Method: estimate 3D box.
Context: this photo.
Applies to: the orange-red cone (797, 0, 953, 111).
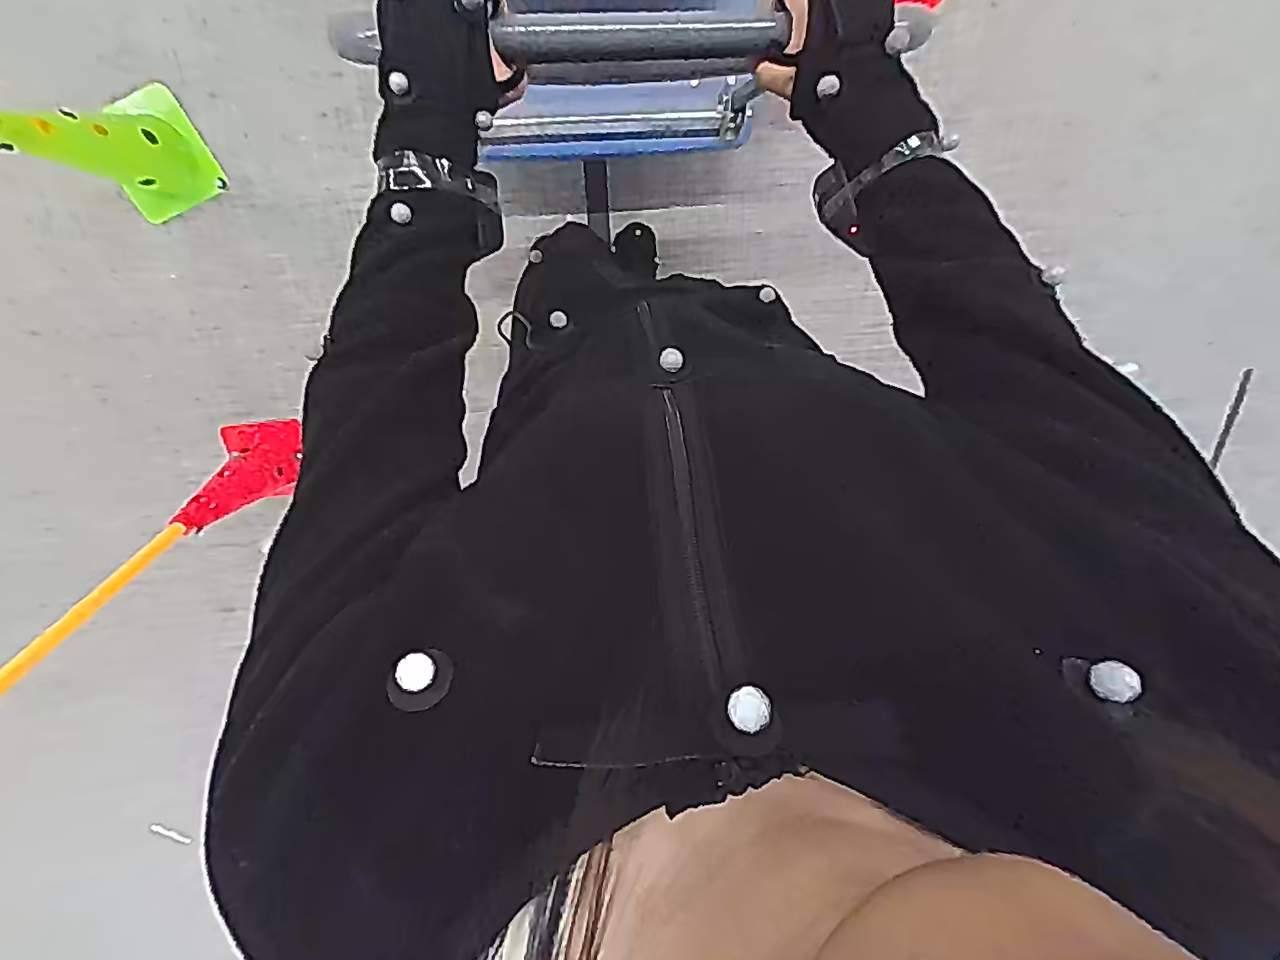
[{"bbox_3d":[0.457,-0.827,0.979,0.199,0.360,0.198,1,115,-8],"label":"orange-red cone"}]
